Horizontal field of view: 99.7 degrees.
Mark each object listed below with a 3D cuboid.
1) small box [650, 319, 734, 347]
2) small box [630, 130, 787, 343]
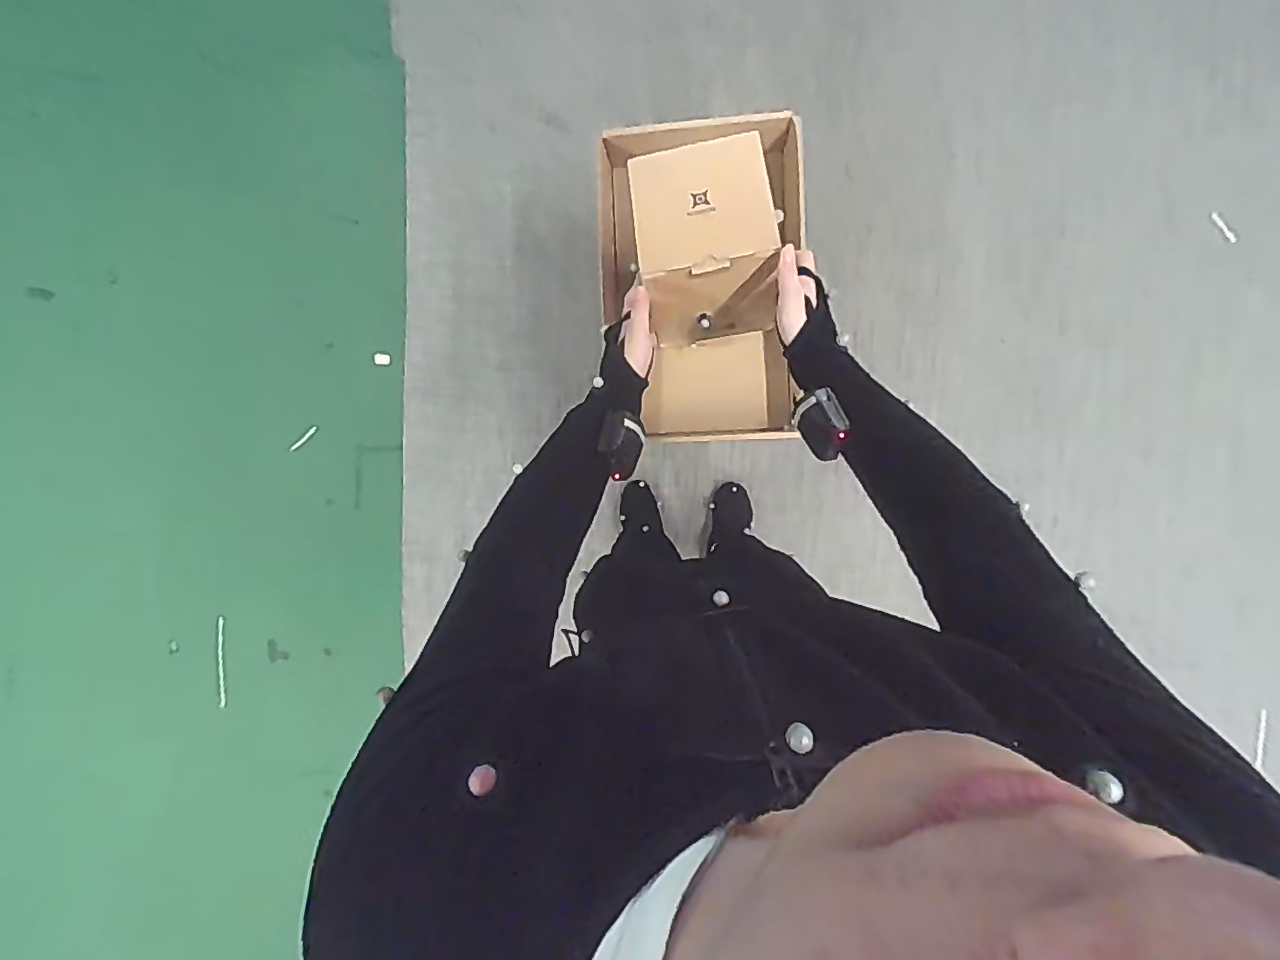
[{"bbox_3d":[0.107,-0.378,1.095,0.168,0.176,0.179,-1,92,7],"label":"small box"},{"bbox_3d":[0.086,-0.306,0.709,0.168,0.176,0.179,-9,75,6],"label":"small box"}]
